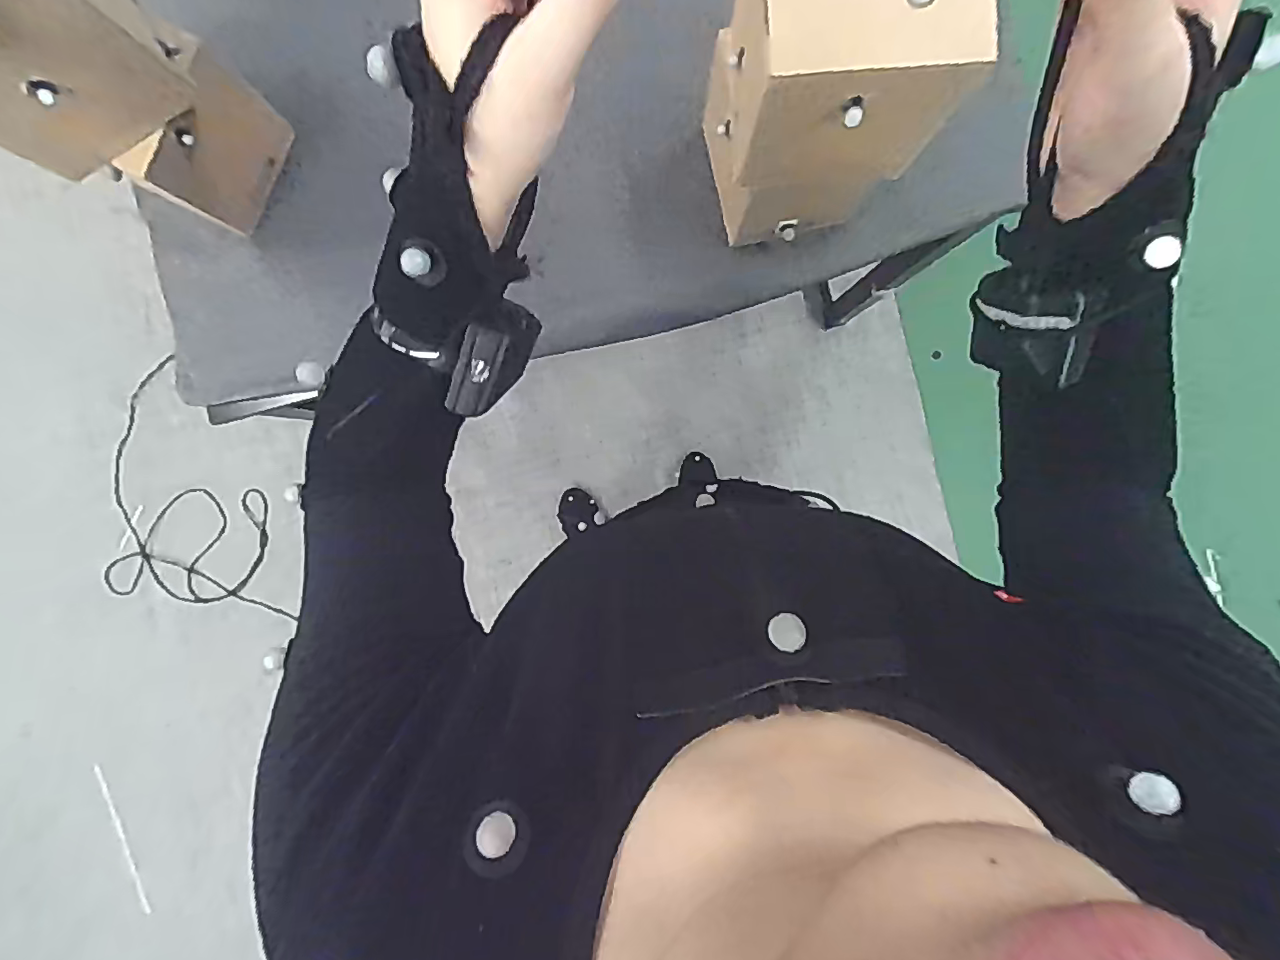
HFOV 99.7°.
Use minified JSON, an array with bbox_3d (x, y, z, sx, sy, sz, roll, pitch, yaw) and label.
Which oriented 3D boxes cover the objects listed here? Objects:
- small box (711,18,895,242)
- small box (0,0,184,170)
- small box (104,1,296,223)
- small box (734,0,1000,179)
[{"bbox_3d":[0.186,-0.419,0.649,0.168,0.176,0.179,-13,92,3],"label":"small box"},{"bbox_3d":[-0.582,-0.438,0.499,0.179,0.176,0.168,-33,93,3],"label":"small box"},{"bbox_3d":[-0.580,-0.451,0.664,0.179,0.176,0.168,26,93,-1],"label":"small box"},{"bbox_3d":[0.185,-0.398,0.487,0.179,0.176,0.168,-2,92,3],"label":"small box"}]
